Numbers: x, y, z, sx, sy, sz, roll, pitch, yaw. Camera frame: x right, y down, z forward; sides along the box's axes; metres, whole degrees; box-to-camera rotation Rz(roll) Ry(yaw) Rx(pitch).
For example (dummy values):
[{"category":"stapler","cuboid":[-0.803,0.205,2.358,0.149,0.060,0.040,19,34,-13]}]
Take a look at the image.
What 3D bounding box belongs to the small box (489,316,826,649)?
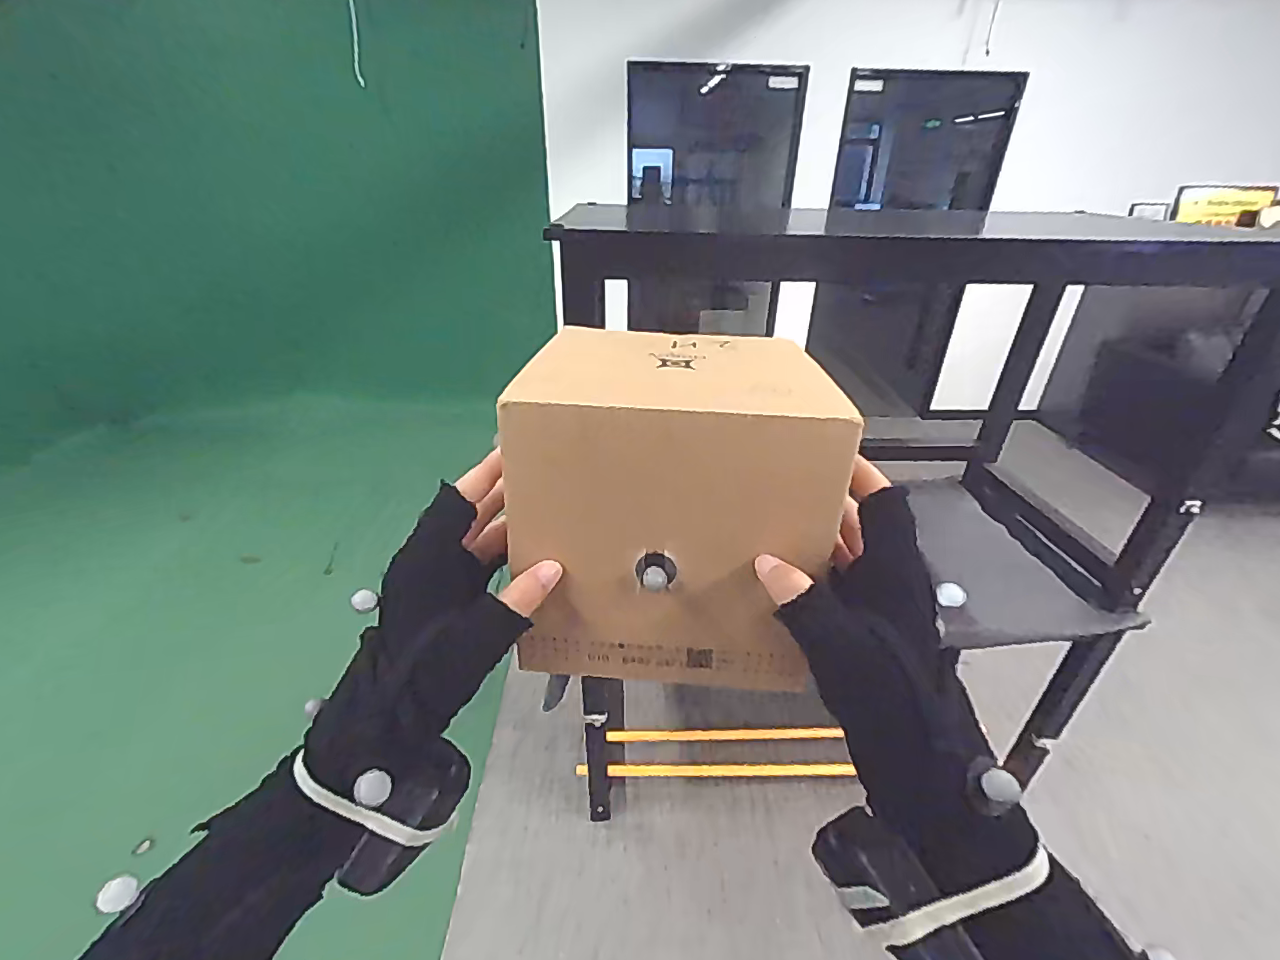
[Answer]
[{"category":"small box","cuboid":[0.012,-0.009,0.365,0.168,0.176,0.179,4,25,2]}]
